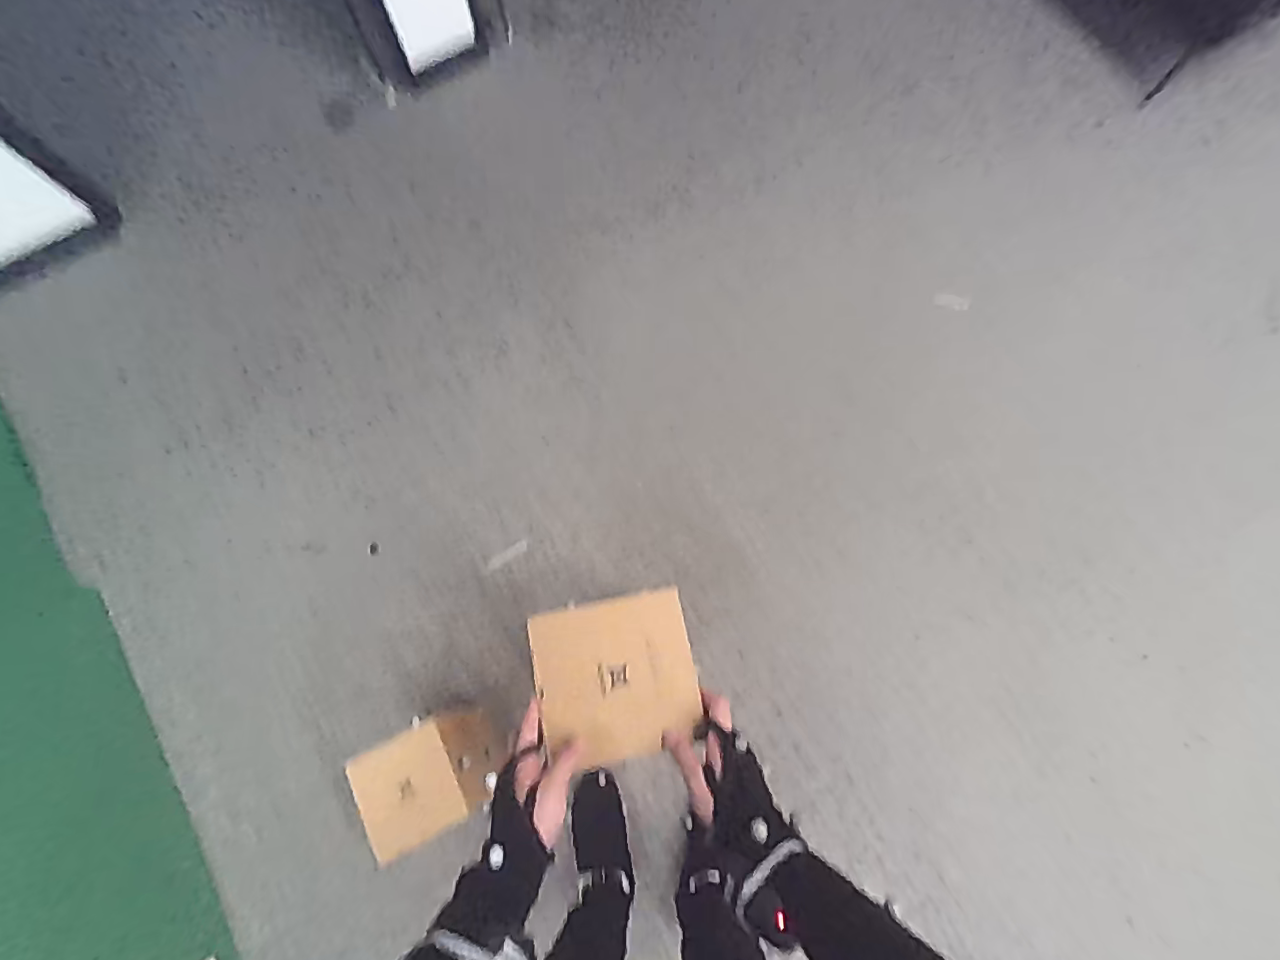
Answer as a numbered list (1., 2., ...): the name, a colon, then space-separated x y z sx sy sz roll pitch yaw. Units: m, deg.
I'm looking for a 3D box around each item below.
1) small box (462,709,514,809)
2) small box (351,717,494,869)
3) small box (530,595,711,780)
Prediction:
1. small box: -0.391 0.620 1.166 0.168 0.176 0.179 -27 76 -8
2. small box: -0.392 0.558 0.999 0.168 0.176 0.179 -26 77 -8
3. small box: -0.023 0.244 0.659 0.179 0.176 0.168 -10 73 -4
